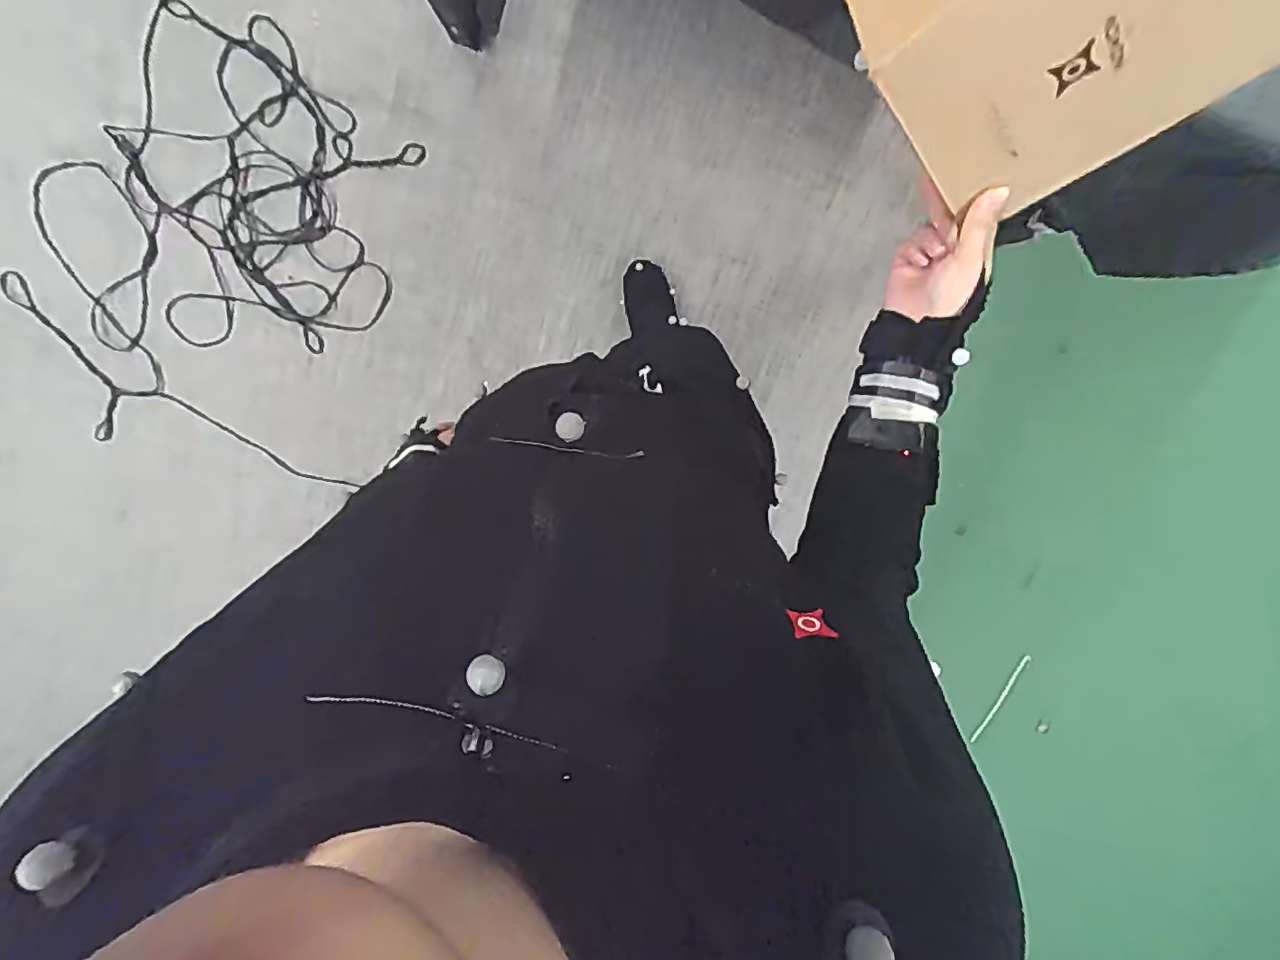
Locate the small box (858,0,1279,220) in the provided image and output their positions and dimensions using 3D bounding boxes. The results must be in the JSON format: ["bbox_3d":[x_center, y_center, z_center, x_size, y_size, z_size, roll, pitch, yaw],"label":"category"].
[{"bbox_3d":[0.249,-0.317,0.335,0.168,0.176,0.179,22,147,-38],"label":"small box"}]
